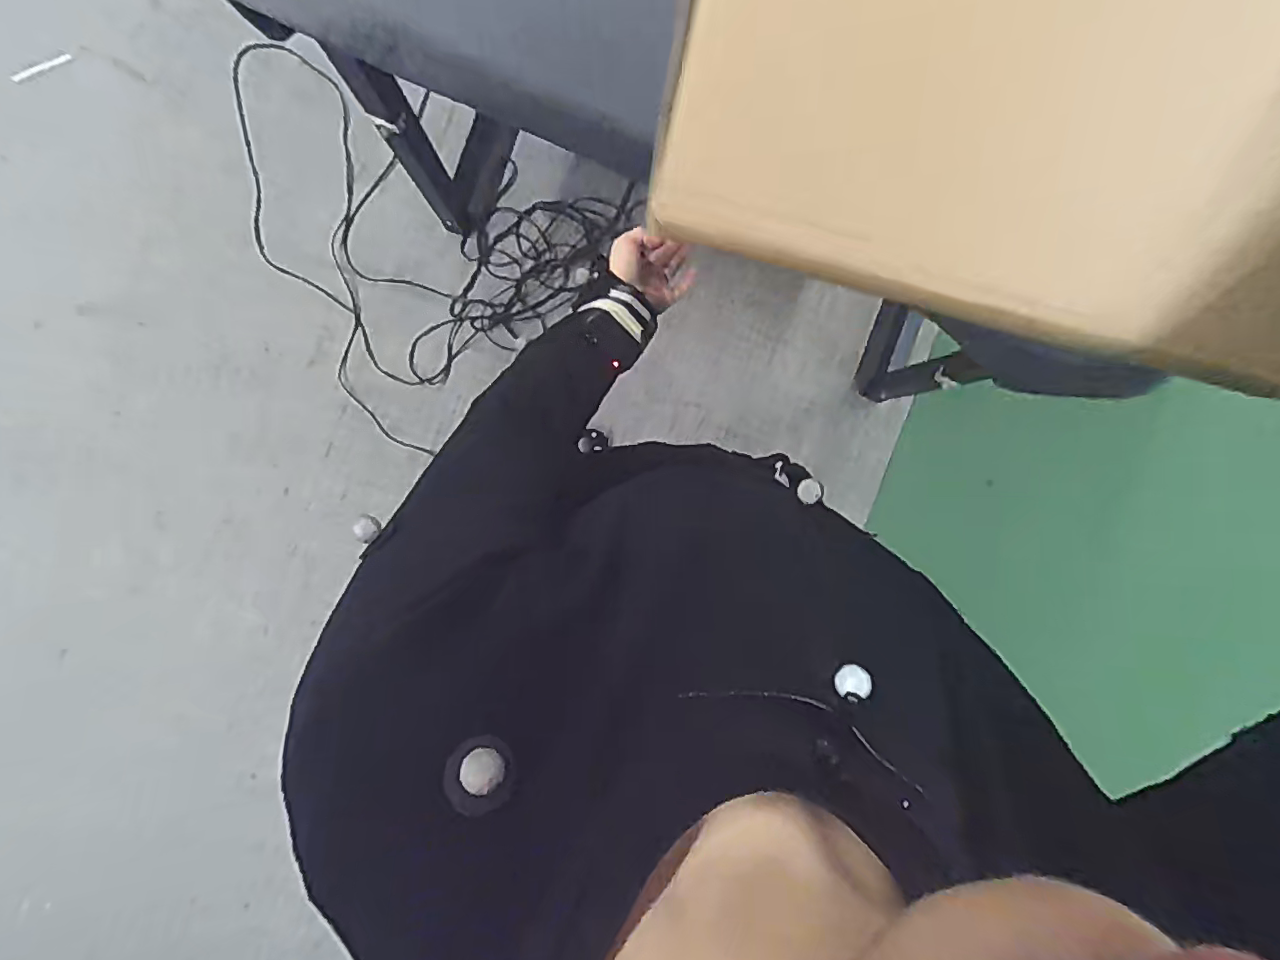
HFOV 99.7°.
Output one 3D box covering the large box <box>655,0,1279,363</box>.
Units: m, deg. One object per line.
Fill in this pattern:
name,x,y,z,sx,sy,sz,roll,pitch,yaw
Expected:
large box,0.190,-0.305,0.347,0.320,0.408,0.320,12,117,-4
